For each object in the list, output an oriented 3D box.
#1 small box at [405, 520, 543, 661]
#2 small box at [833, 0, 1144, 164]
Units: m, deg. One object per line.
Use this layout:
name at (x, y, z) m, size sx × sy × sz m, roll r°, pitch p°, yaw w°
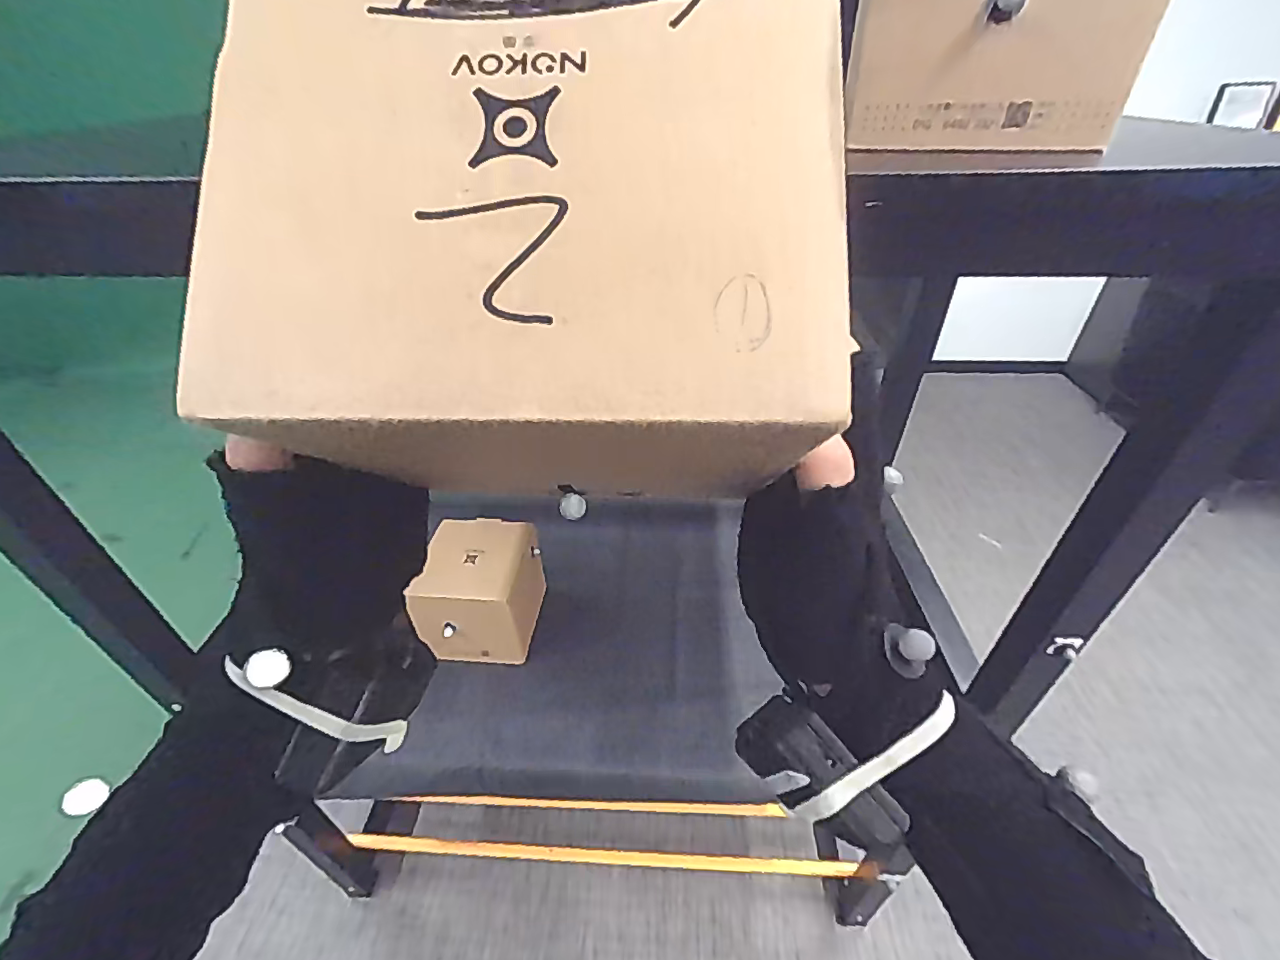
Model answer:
small box at (-0.270, 0.189, 0.928) m, size 0.168 × 0.176 × 0.179 m, roll 2°, pitch 37°, yaw 4°
small box at (0.246, -0.340, 0.402) m, size 0.168 × 0.176 × 0.179 m, roll 8°, pitch 38°, yaw 12°
